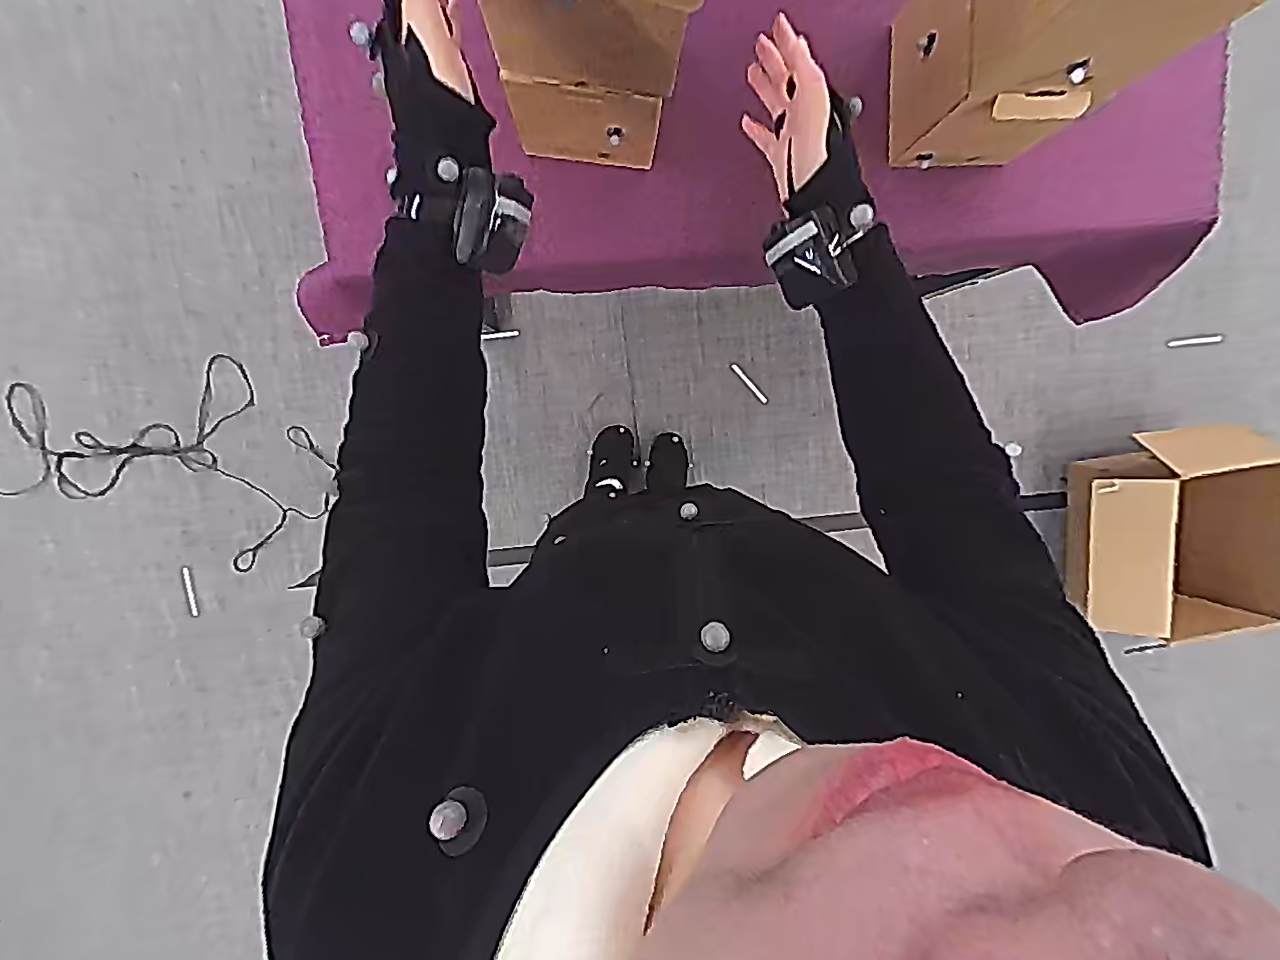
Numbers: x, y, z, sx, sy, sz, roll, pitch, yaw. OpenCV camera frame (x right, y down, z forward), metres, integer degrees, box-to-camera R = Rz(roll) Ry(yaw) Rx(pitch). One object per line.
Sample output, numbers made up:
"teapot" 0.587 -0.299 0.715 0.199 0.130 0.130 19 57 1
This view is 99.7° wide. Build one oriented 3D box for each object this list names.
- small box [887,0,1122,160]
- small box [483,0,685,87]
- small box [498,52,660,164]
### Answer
"small box" 0.408 -0.498 0.631 0.168 0.176 0.179 -3 97 -3
"small box" -0.041 -0.467 0.448 0.179 0.176 0.168 6 99 -5
"small box" -0.056 -0.488 0.610 0.168 0.176 0.179 5 97 -5
